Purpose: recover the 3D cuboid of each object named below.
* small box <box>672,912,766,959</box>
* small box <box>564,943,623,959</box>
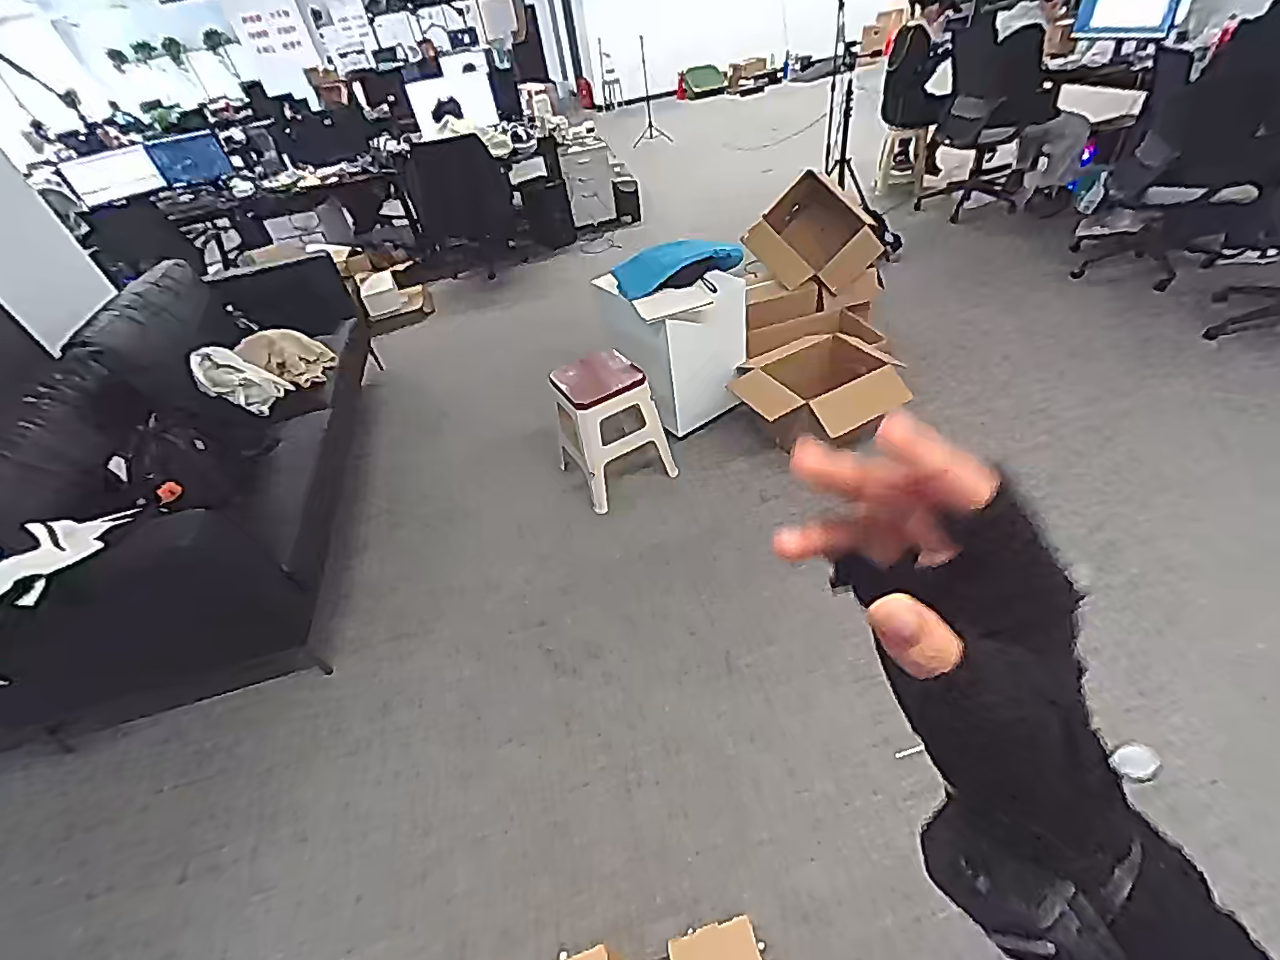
[{"bbox_3d":[0.166,0.962,1.021,0.168,0.176,0.179,-15,42,-4],"label":"small box"},{"bbox_3d":[-0.100,0.909,0.890,0.179,0.176,0.168,-17,43,-7],"label":"small box"}]
